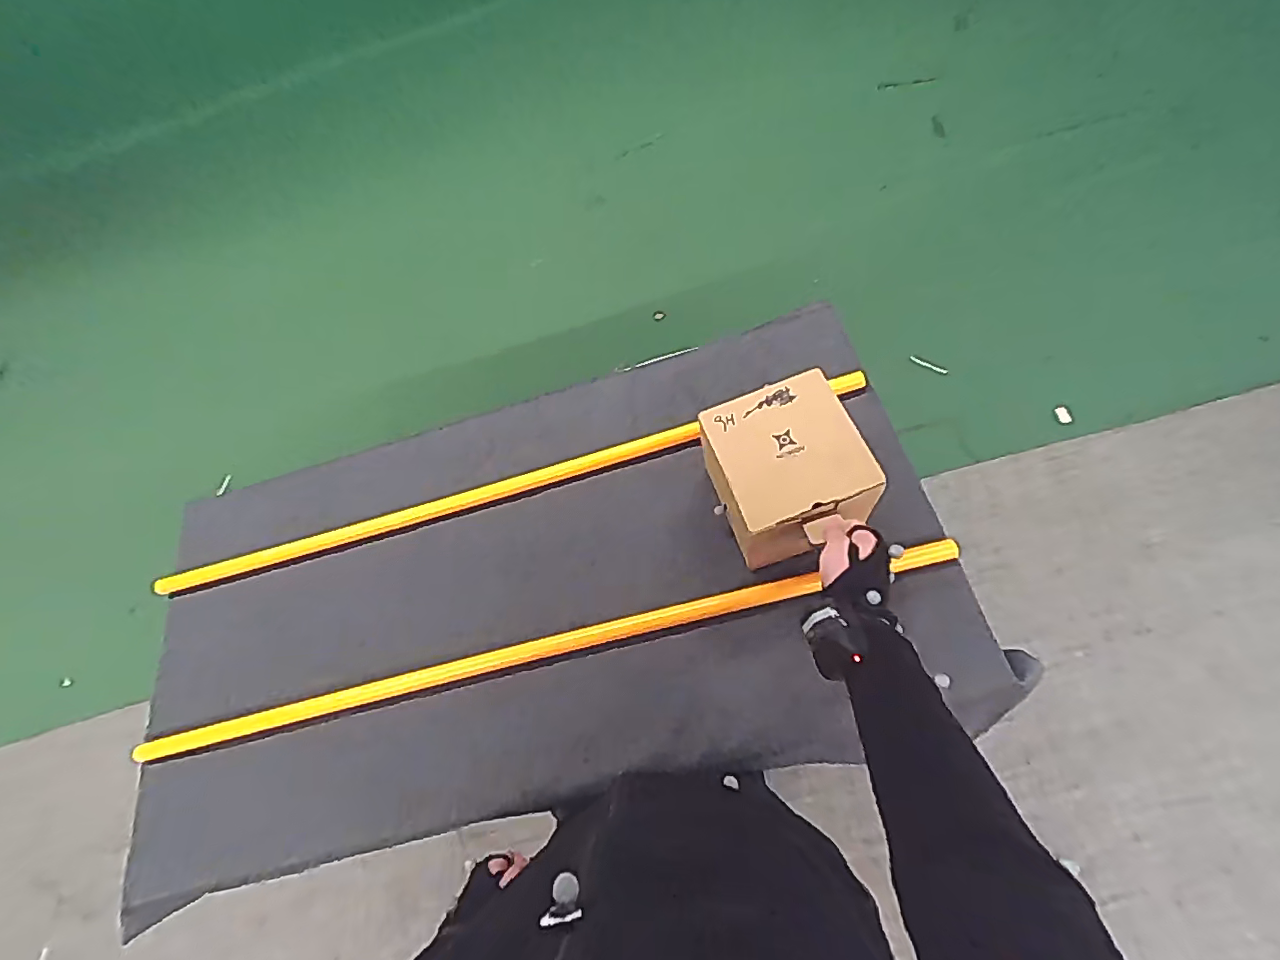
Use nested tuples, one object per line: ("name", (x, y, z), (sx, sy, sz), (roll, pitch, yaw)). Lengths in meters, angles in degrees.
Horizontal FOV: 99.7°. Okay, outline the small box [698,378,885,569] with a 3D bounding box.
("small box", (0.194, 0.004, 0.721), (0.168, 0.176, 0.179), (-24, 63, 2))
